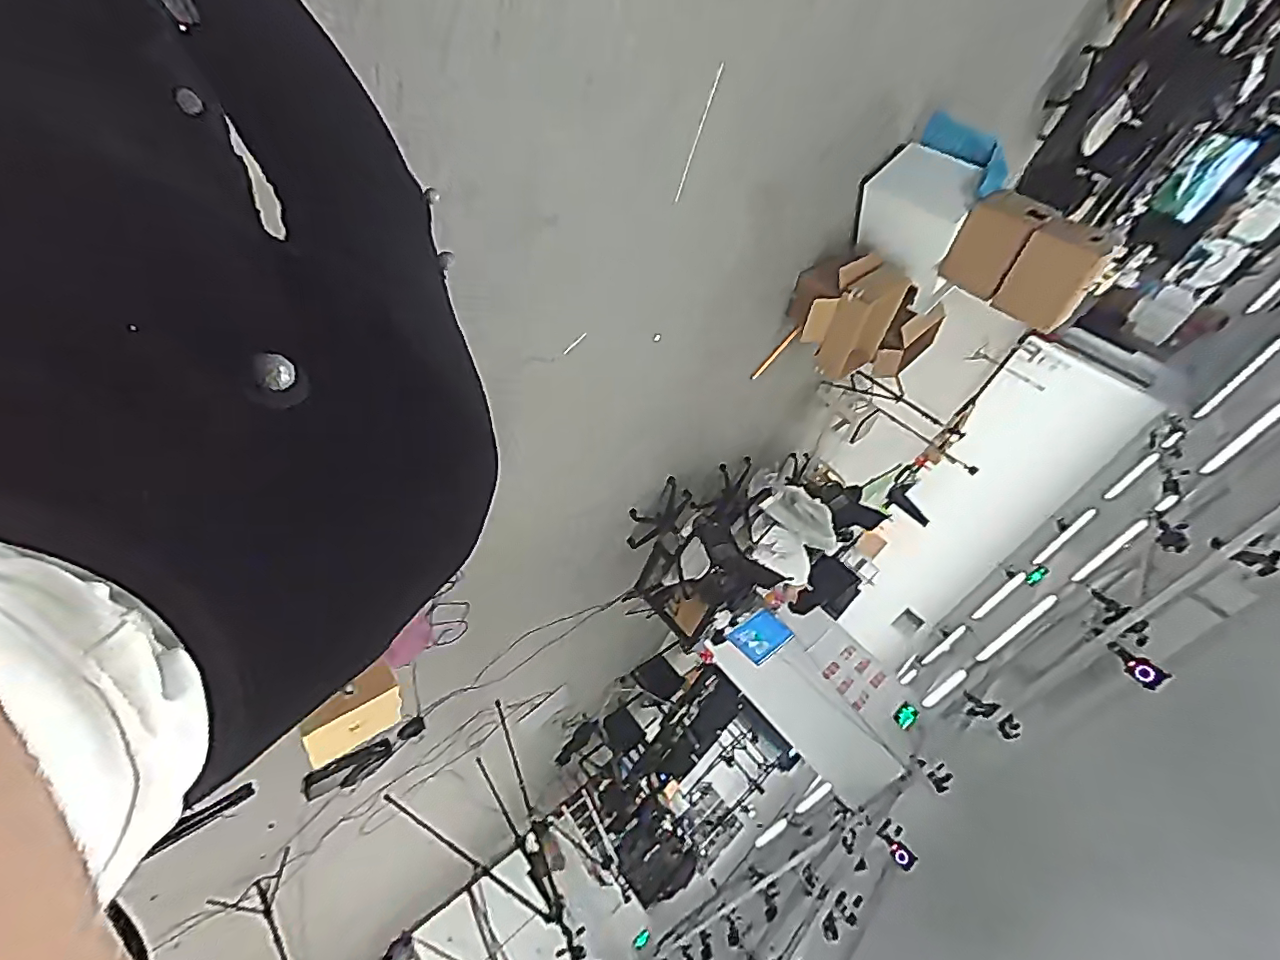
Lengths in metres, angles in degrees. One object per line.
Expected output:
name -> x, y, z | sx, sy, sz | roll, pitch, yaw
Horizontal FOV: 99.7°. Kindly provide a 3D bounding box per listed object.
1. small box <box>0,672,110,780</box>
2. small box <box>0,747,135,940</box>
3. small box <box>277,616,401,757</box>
small box -> -1.038, 0.461, 0.918 | 0.179, 0.176, 0.168 | -11, 138, -48
small box -> -0.931, 0.561, 0.846 | 0.179, 0.176, 0.168 | -12, 138, -48
small box -> -0.612, 0.415, 1.102 | 0.179, 0.176, 0.168 | -24, 147, -38
